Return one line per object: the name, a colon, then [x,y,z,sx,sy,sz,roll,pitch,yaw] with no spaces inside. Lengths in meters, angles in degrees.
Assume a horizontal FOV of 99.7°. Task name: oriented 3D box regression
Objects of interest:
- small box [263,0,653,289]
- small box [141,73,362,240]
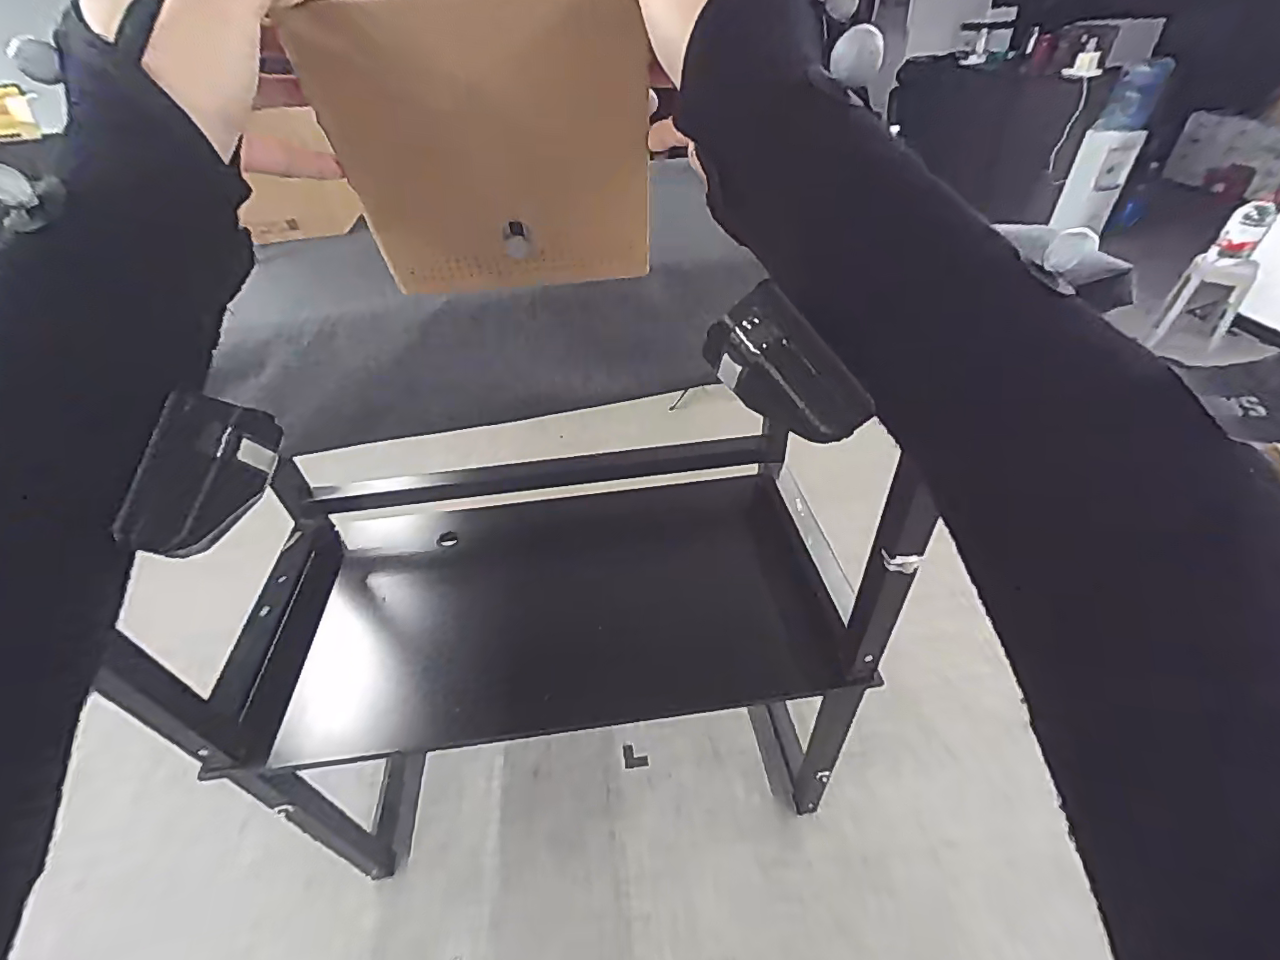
small box: [-0.090,-0.247,0.348,0.179,0.176,0.168,-6,59,-4]
small box: [-0.494,-0.435,0.730,0.168,0.176,0.179,-9,41,-6]
